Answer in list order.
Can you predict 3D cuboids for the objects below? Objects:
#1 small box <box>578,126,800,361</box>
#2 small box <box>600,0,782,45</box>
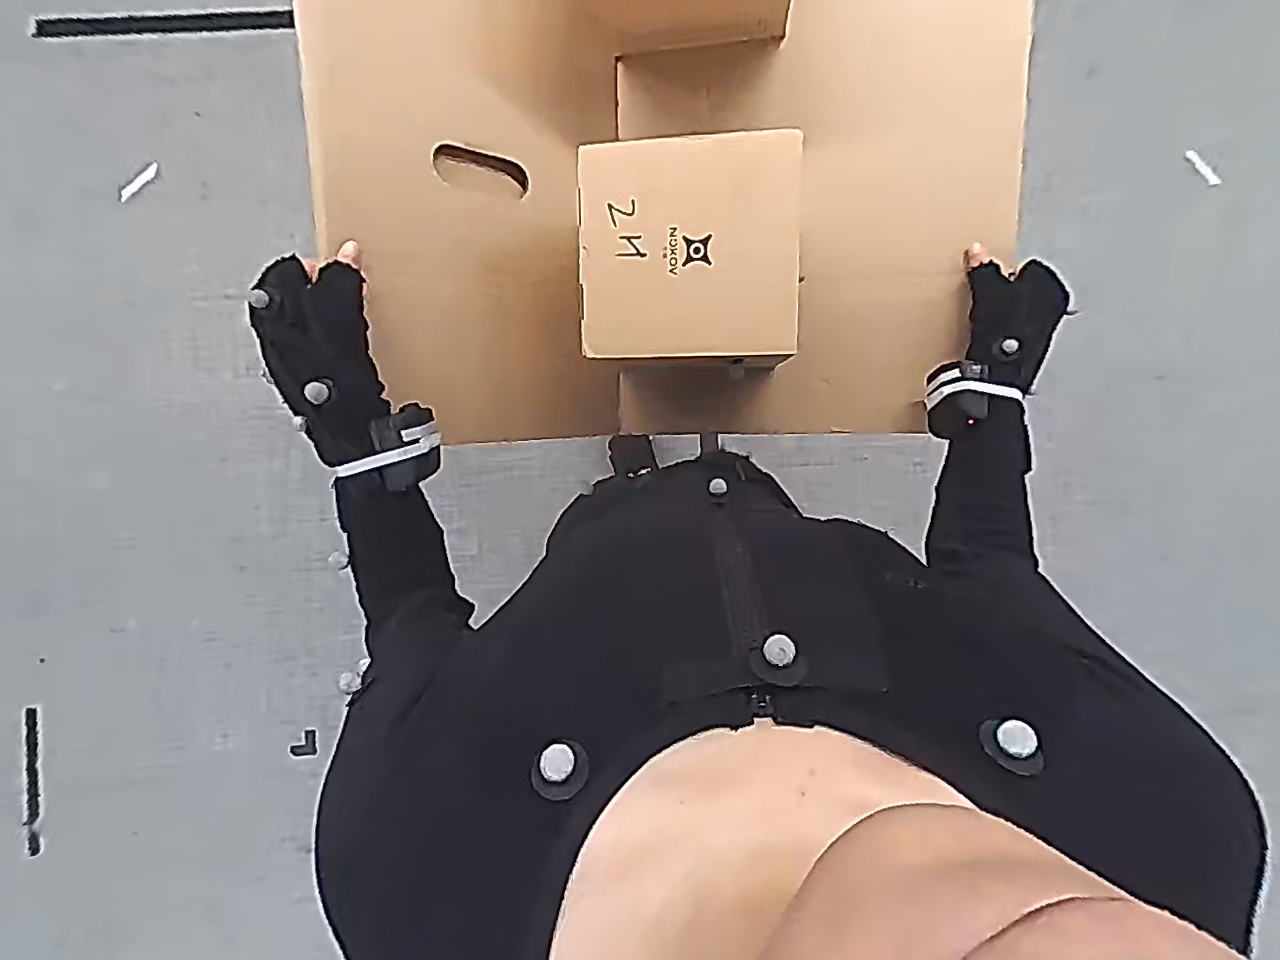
[{"bbox_3d":[0.047,-0.204,0.512,0.179,0.176,0.168,2,98,9],"label":"small box"},{"bbox_3d":[0.041,-0.519,0.466,0.179,0.176,0.168,0,99,8],"label":"small box"}]
